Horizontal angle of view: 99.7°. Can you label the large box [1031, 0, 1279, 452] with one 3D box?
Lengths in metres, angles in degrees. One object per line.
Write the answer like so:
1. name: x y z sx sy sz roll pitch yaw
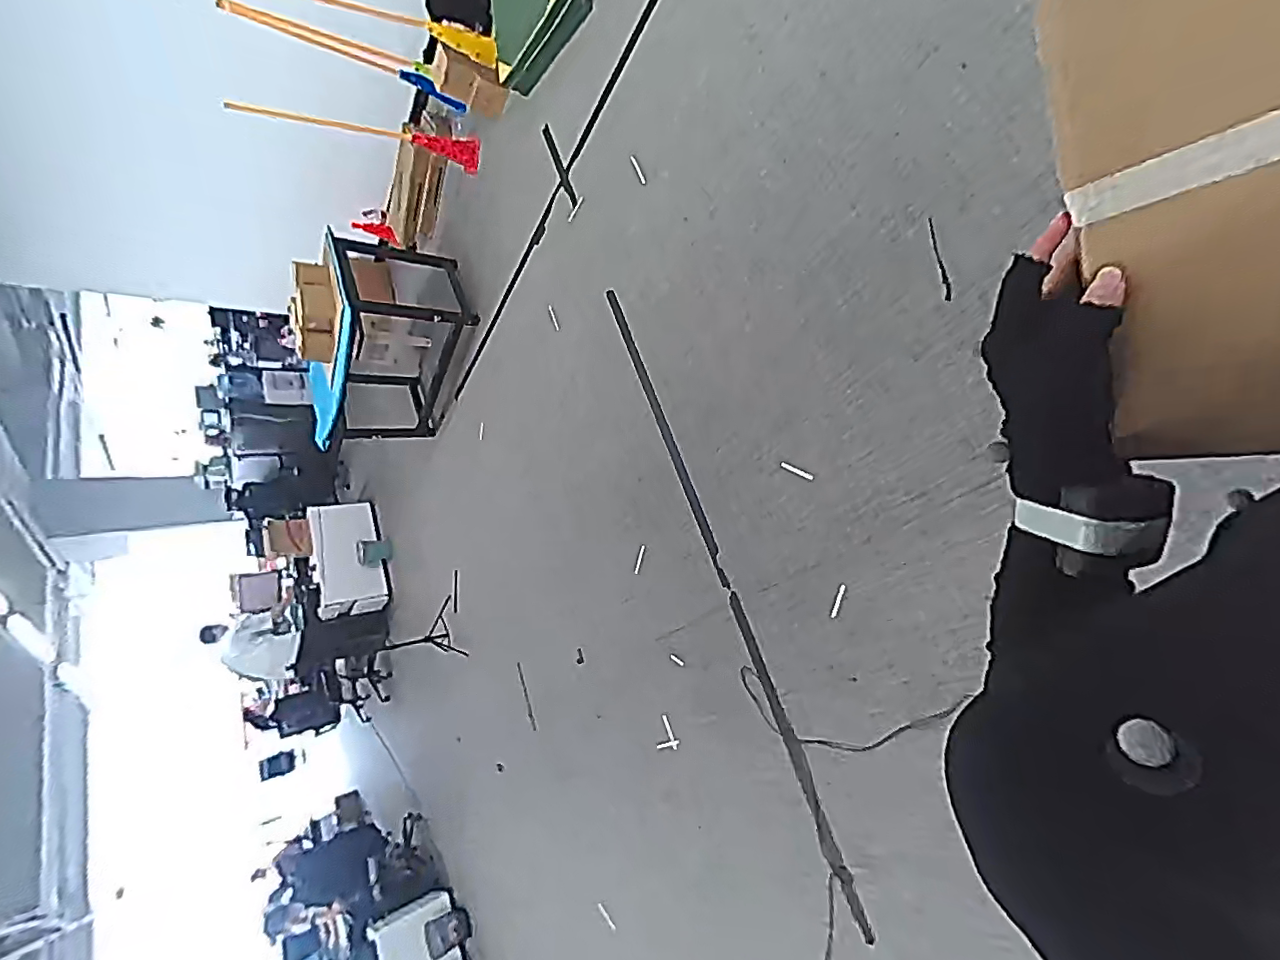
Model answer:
1. large box: 0.482 -0.223 0.246 0.408 0.320 0.320 -4 110 54
